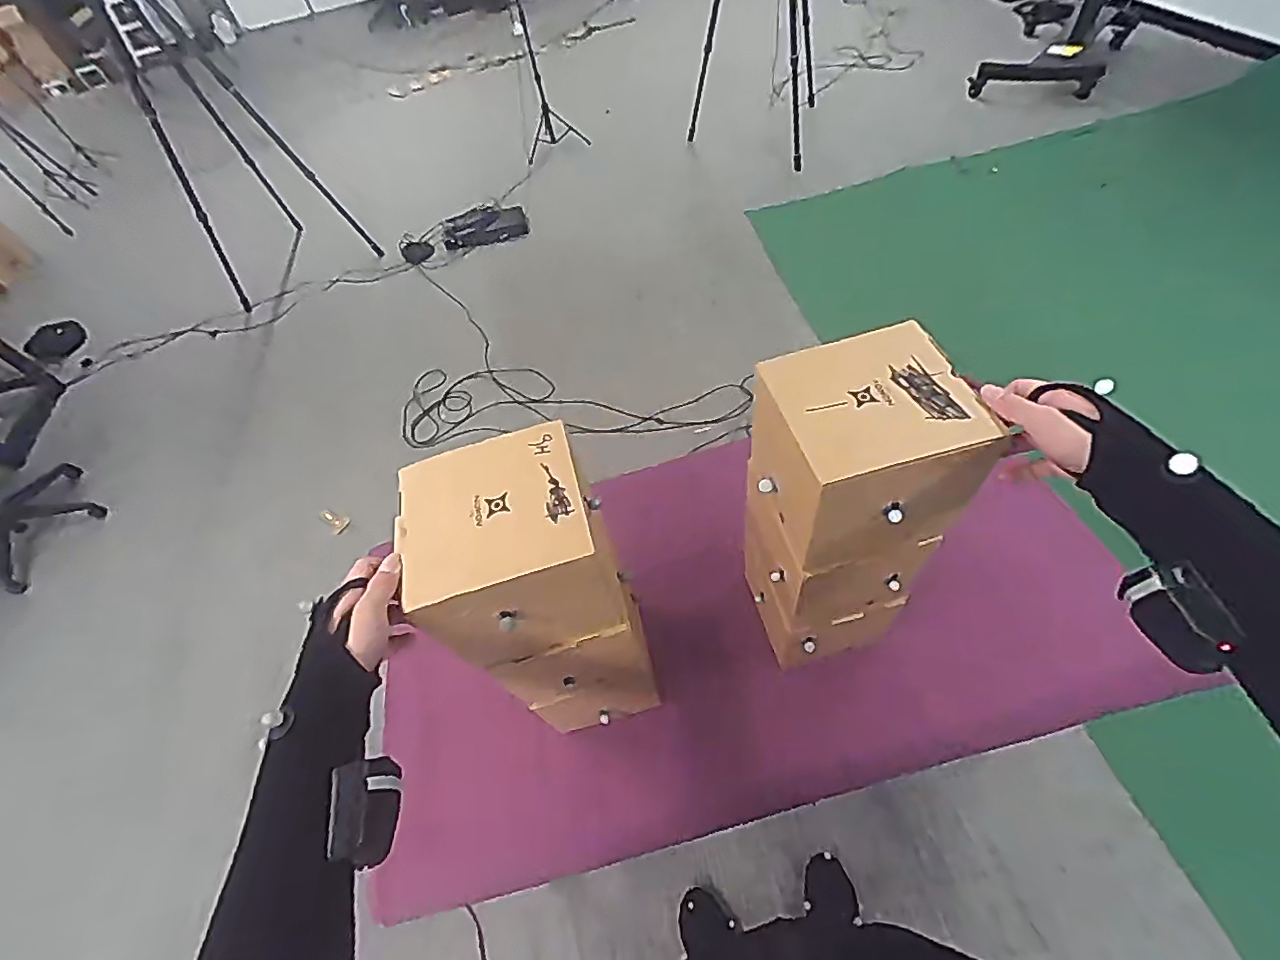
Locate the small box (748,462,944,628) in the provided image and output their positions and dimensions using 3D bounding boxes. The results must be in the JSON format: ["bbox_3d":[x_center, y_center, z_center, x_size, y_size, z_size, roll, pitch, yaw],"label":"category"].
[{"bbox_3d":[0.245,0.073,0.693,0.168,0.176,0.179,-15,52,-2],"label":"small box"}]

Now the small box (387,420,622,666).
[{"bbox_3d":[-0.131,0.072,0.557,0.179,0.176,0.168,-17,54,-1],"label":"small box"}]

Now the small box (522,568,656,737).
[{"bbox_3d":[-0.079,0.263,0.816,0.168,0.176,0.179,-15,53,-1],"label":"small box"}]

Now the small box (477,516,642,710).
[{"bbox_3d":[-0.102,0.166,0.688,0.168,0.176,0.179,-16,54,-2],"label":"small box"}]

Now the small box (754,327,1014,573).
[{"bbox_3d":[0.228,-0.025,0.564,0.179,0.176,0.168,-15,52,-1],"label":"small box"}]
